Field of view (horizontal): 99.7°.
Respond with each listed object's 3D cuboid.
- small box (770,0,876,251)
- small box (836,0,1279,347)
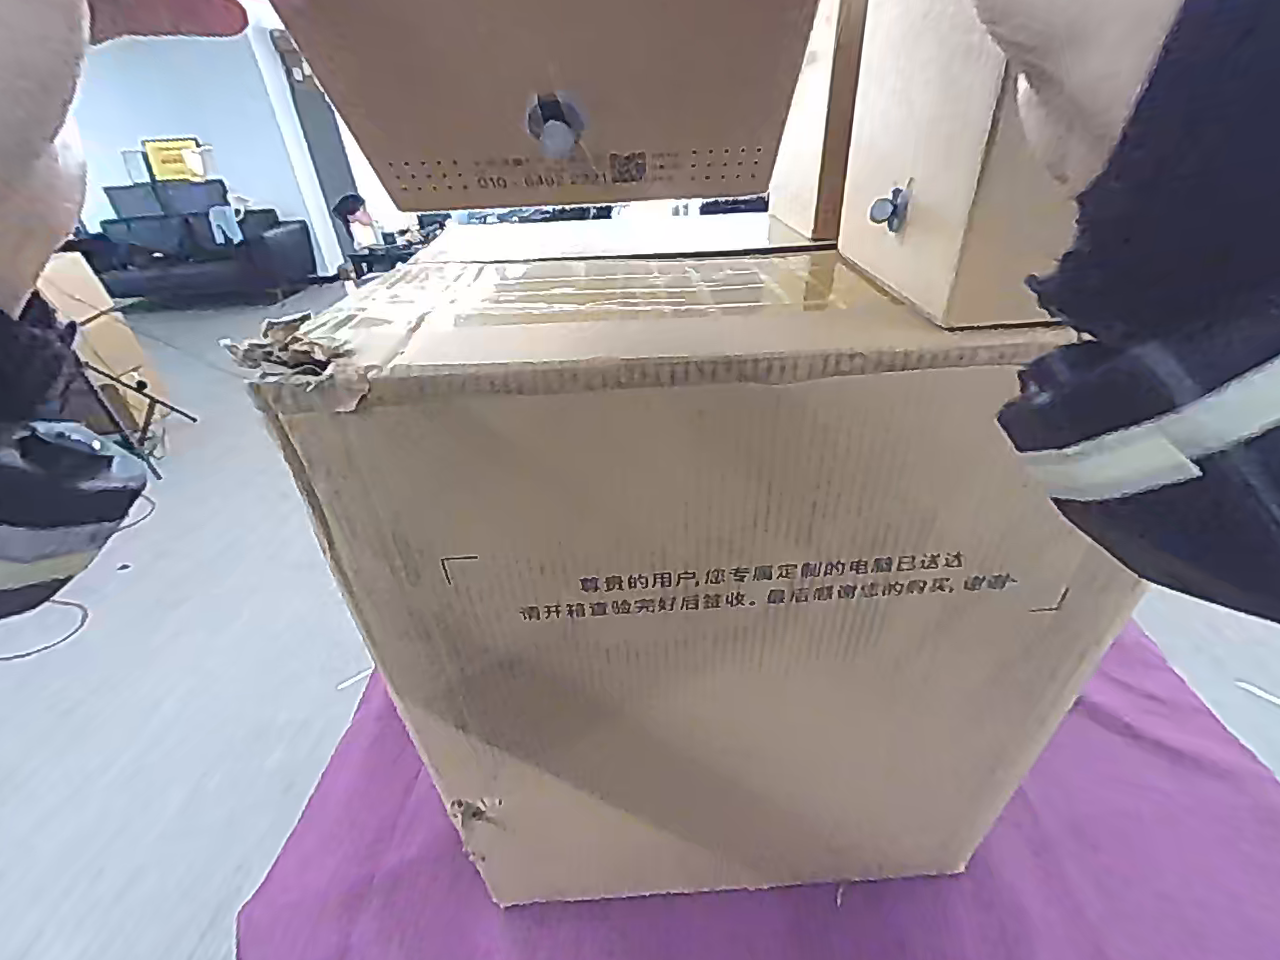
[{"bbox_3d":[0.212,-0.300,0.465,0.168,0.176,0.179,-3,33,2],"label":"small box"},{"bbox_3d":[0.220,-0.184,0.286,0.168,0.176,0.179,-3,33,2],"label":"small box"}]
